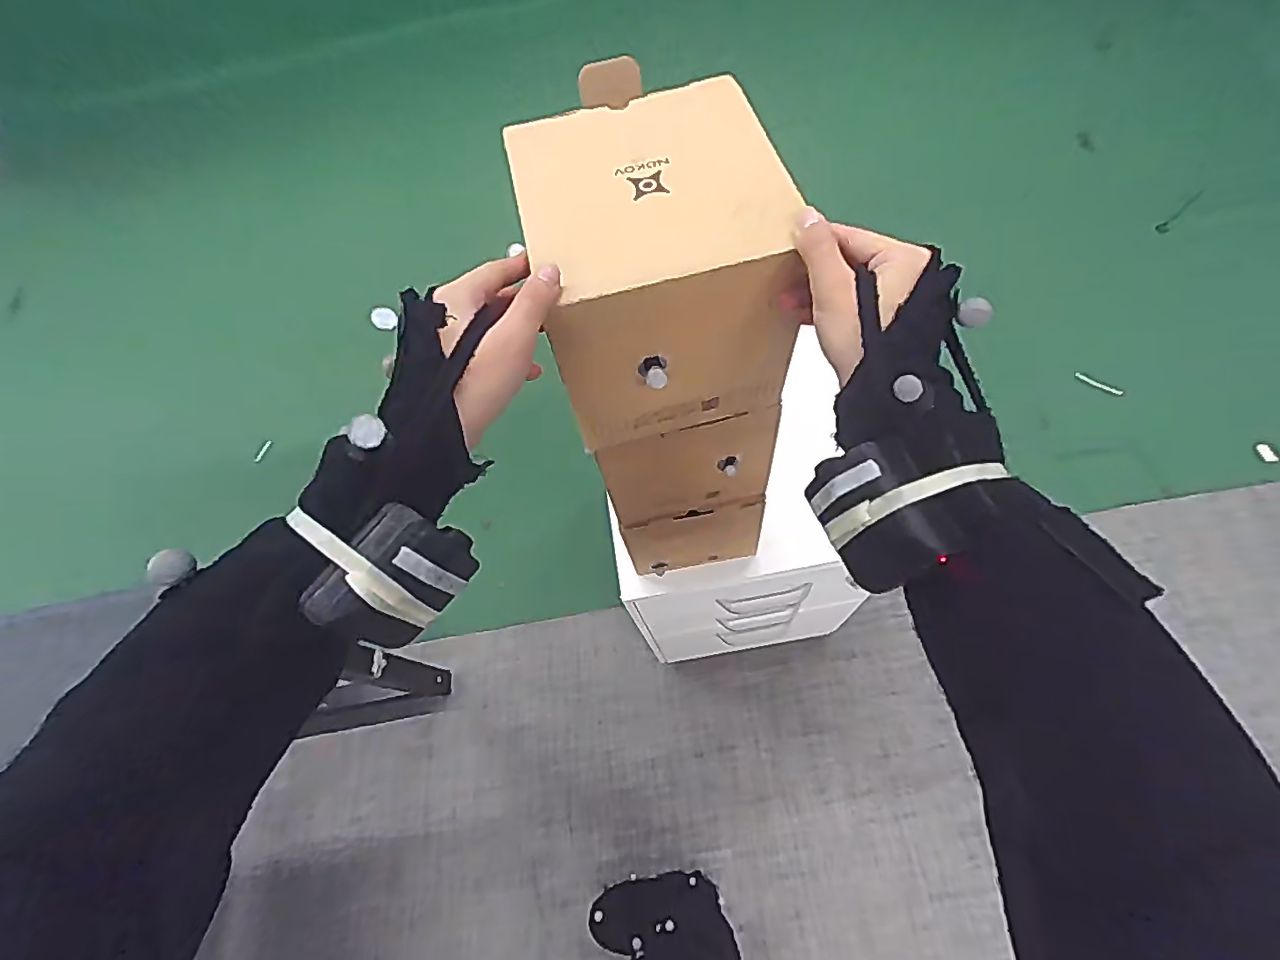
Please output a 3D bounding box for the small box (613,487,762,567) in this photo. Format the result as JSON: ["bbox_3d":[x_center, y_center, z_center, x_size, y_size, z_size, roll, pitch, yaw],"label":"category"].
[{"bbox_3d":[0.053,0.002,0.697,0.168,0.176,0.179,-10,61,1],"label":"small box"}]

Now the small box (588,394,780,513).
[{"bbox_3d":[0.033,-0.079,0.558,0.168,0.176,0.179,-12,61,-1],"label":"small box"}]

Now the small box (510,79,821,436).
[{"bbox_3d":[0.014,-0.150,0.409,0.168,0.176,0.179,-14,64,-2],"label":"small box"}]
